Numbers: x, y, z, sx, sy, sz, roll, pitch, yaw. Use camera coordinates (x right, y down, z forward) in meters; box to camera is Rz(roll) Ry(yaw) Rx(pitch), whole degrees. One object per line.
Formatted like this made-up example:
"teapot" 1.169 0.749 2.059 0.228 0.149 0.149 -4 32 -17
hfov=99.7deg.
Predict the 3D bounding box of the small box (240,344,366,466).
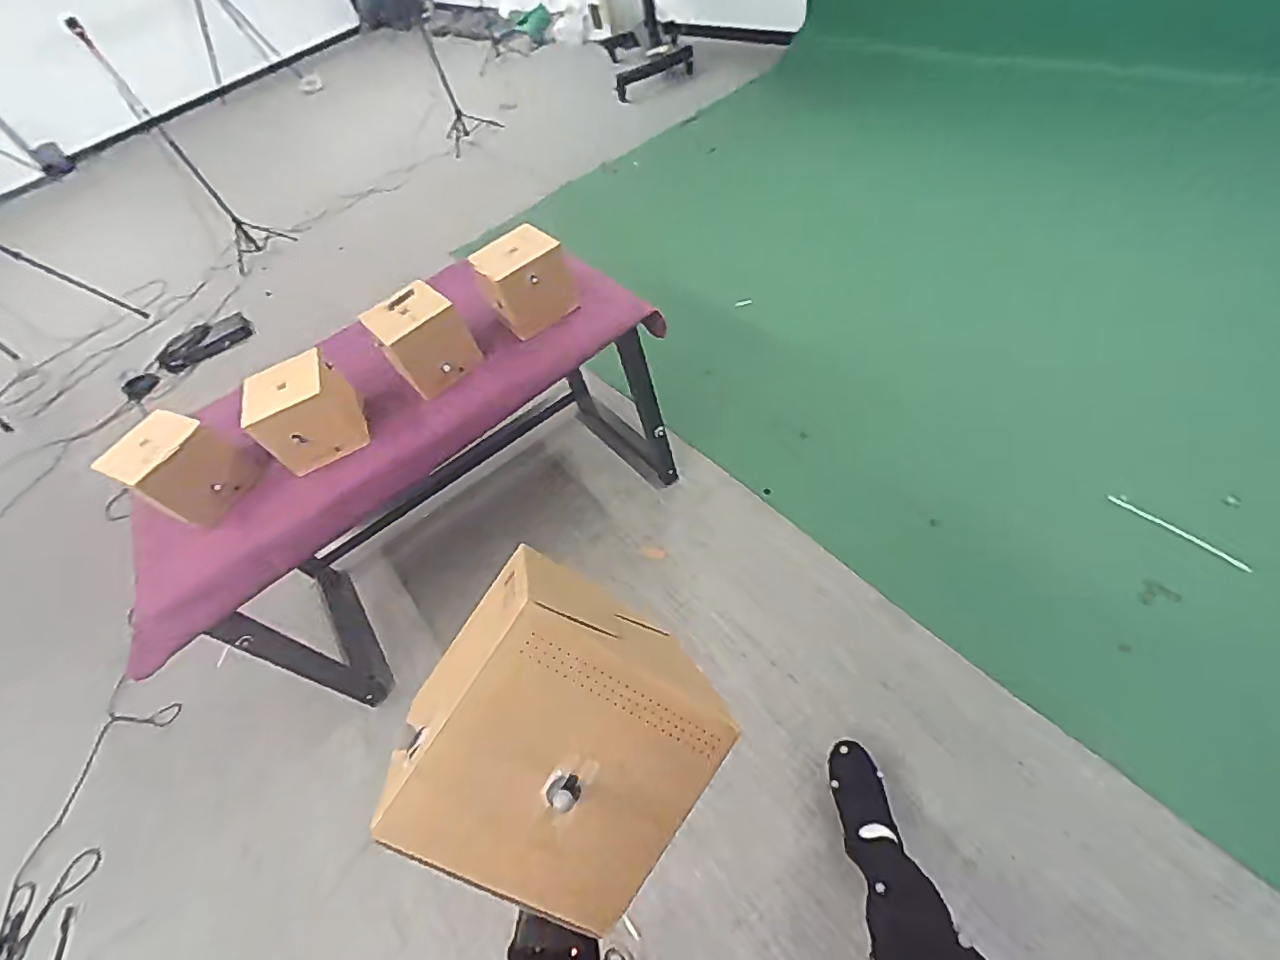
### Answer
"small box" -0.716 -0.153 1.164 0.168 0.176 0.179 -27 51 -6

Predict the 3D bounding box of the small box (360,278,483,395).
"small box" -0.493 -0.325 1.236 0.168 0.176 0.179 -40 55 -16

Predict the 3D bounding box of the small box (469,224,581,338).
"small box" -0.268 -0.469 1.286 0.179 0.176 0.168 -35 52 -13

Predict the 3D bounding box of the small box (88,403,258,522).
"small box" -0.966 -0.035 1.133 0.179 0.176 0.168 15 59 24
